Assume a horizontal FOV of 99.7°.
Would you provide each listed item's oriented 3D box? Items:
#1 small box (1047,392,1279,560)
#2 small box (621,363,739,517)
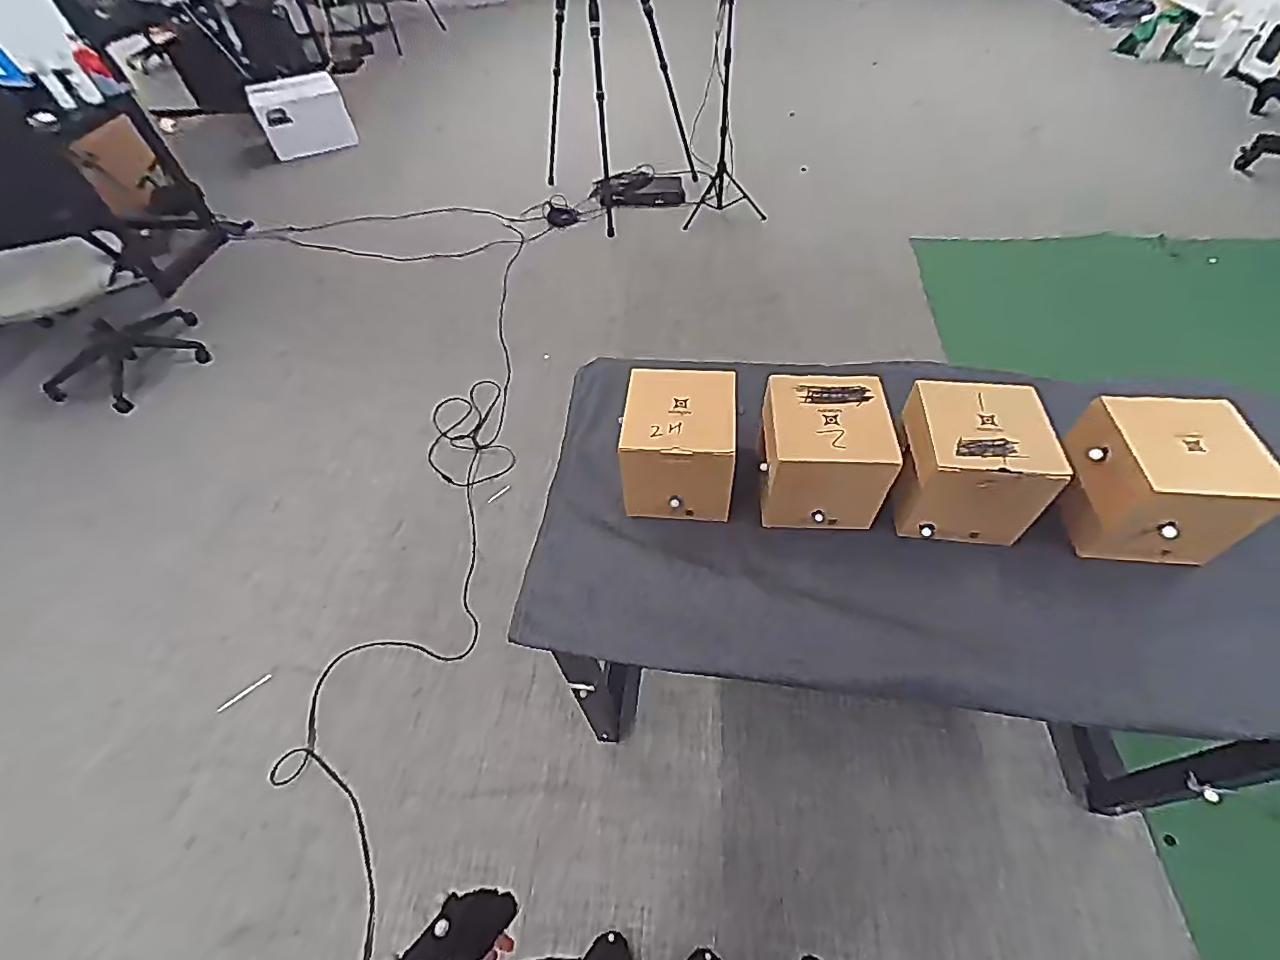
[{"bbox_3d":[0.729,-0.003,0.766,0.168,0.176,0.179,3,52,7],"label":"small box"},{"bbox_3d":[0.066,-0.064,0.861,0.168,0.176,0.179,3,53,7],"label":"small box"}]
